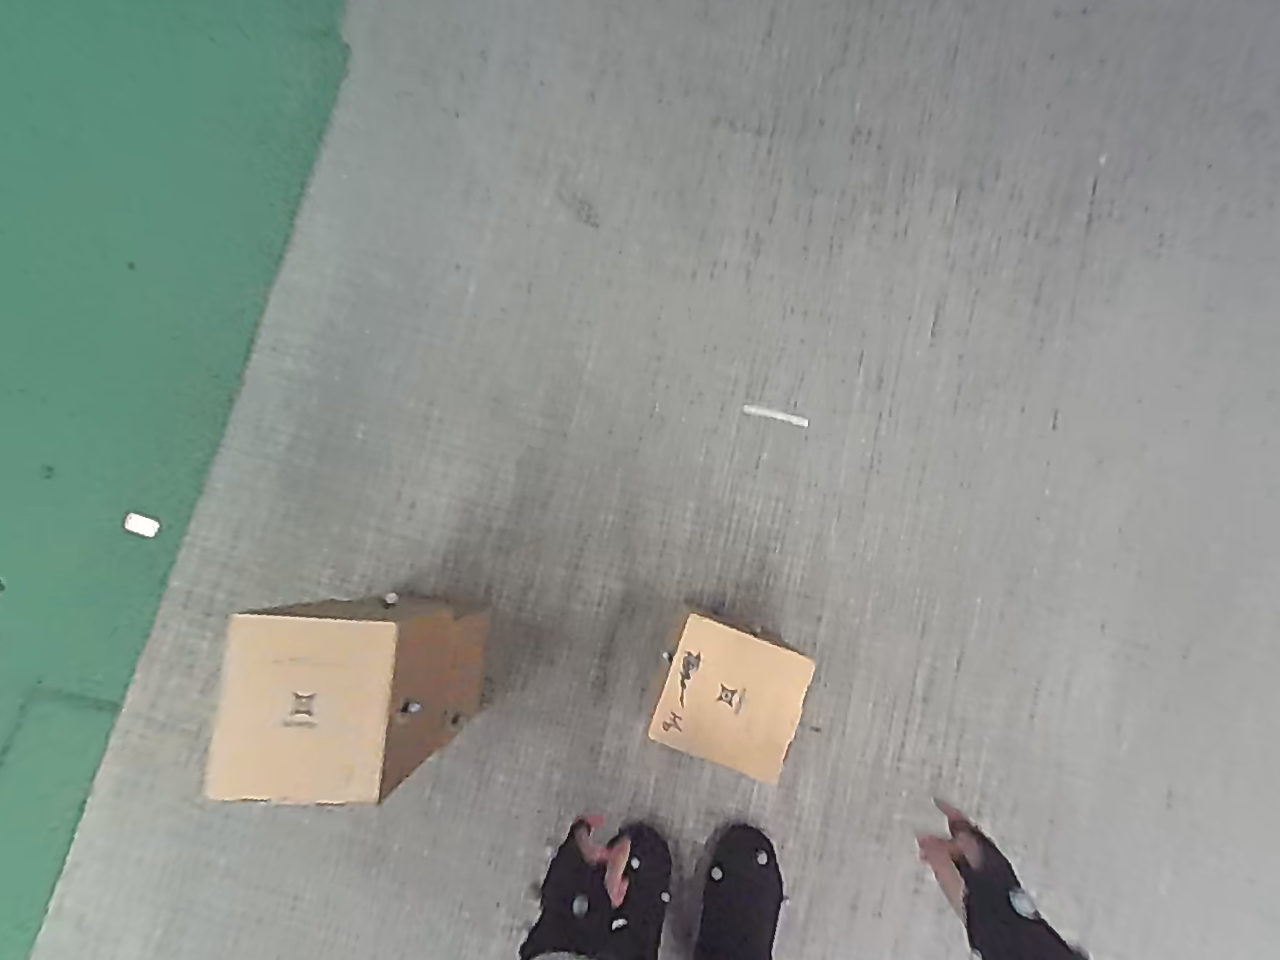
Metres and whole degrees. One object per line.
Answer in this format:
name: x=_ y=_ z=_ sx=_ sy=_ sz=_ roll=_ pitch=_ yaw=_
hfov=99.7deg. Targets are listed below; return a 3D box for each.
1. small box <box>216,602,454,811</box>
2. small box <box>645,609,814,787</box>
small box: x=-0.324 y=0.239 z=0.612 sx=0.168 sy=0.176 sz=0.179 roll=4 pitch=82 yaw=0
small box: x=0.116 y=0.292 z=0.769 sx=0.179 sy=0.176 sz=0.168 roll=21 pitch=82 yaw=2
